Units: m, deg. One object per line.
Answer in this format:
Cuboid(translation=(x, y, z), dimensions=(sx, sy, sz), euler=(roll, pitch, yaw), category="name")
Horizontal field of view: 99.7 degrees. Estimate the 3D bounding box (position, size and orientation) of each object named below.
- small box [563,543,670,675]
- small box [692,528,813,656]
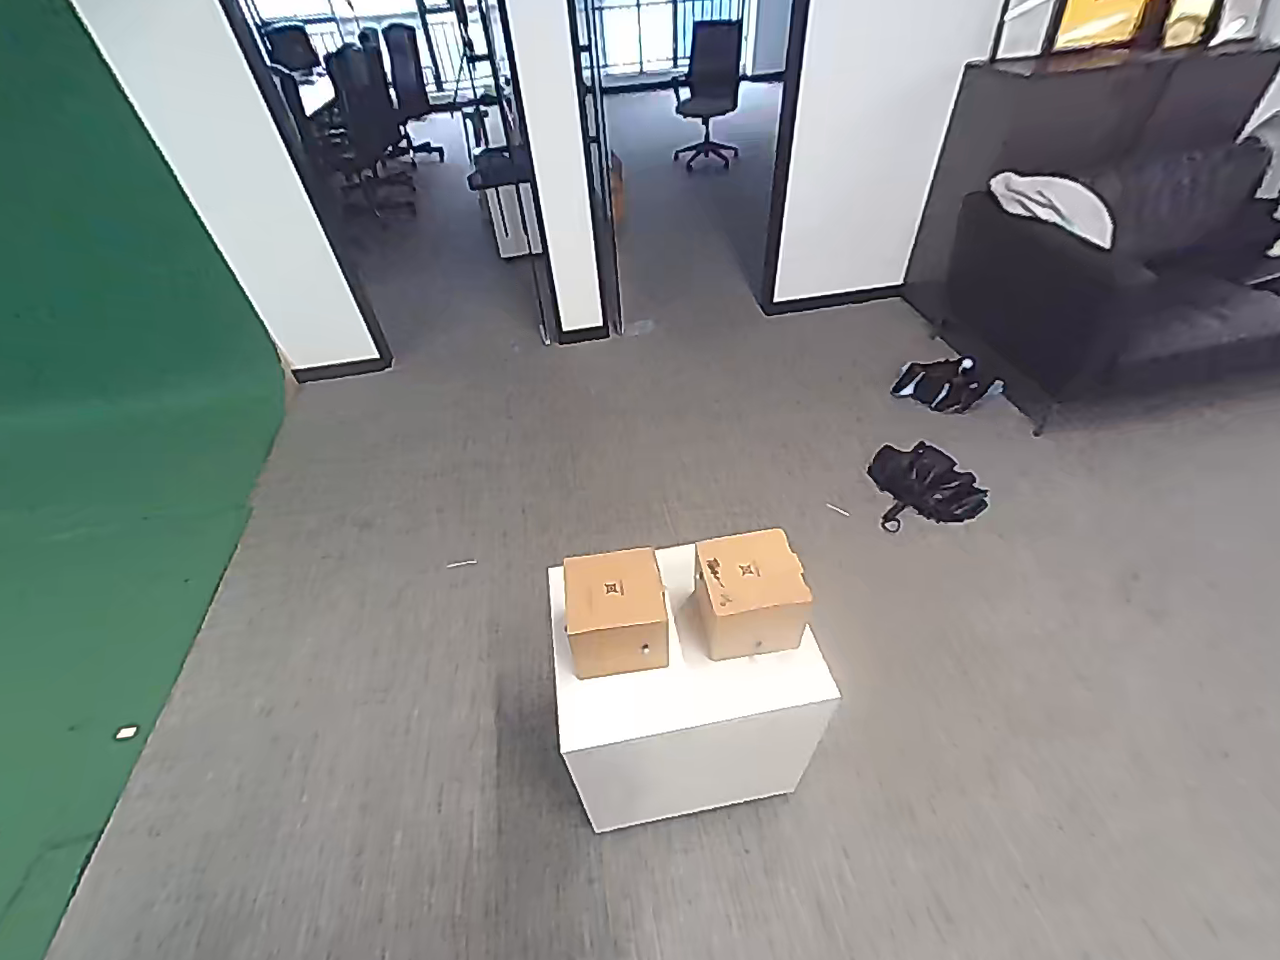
Cuboid(translation=(-0.045, 0.243, 1.013), dimensions=(0.179, 0.176, 0.168), euler=(-8, 44, -5), category="small box")
Cuboid(translation=(0.202, 0.214, 1.029), dimensions=(0.179, 0.176, 0.168), euler=(-7, 45, -5), category="small box")
